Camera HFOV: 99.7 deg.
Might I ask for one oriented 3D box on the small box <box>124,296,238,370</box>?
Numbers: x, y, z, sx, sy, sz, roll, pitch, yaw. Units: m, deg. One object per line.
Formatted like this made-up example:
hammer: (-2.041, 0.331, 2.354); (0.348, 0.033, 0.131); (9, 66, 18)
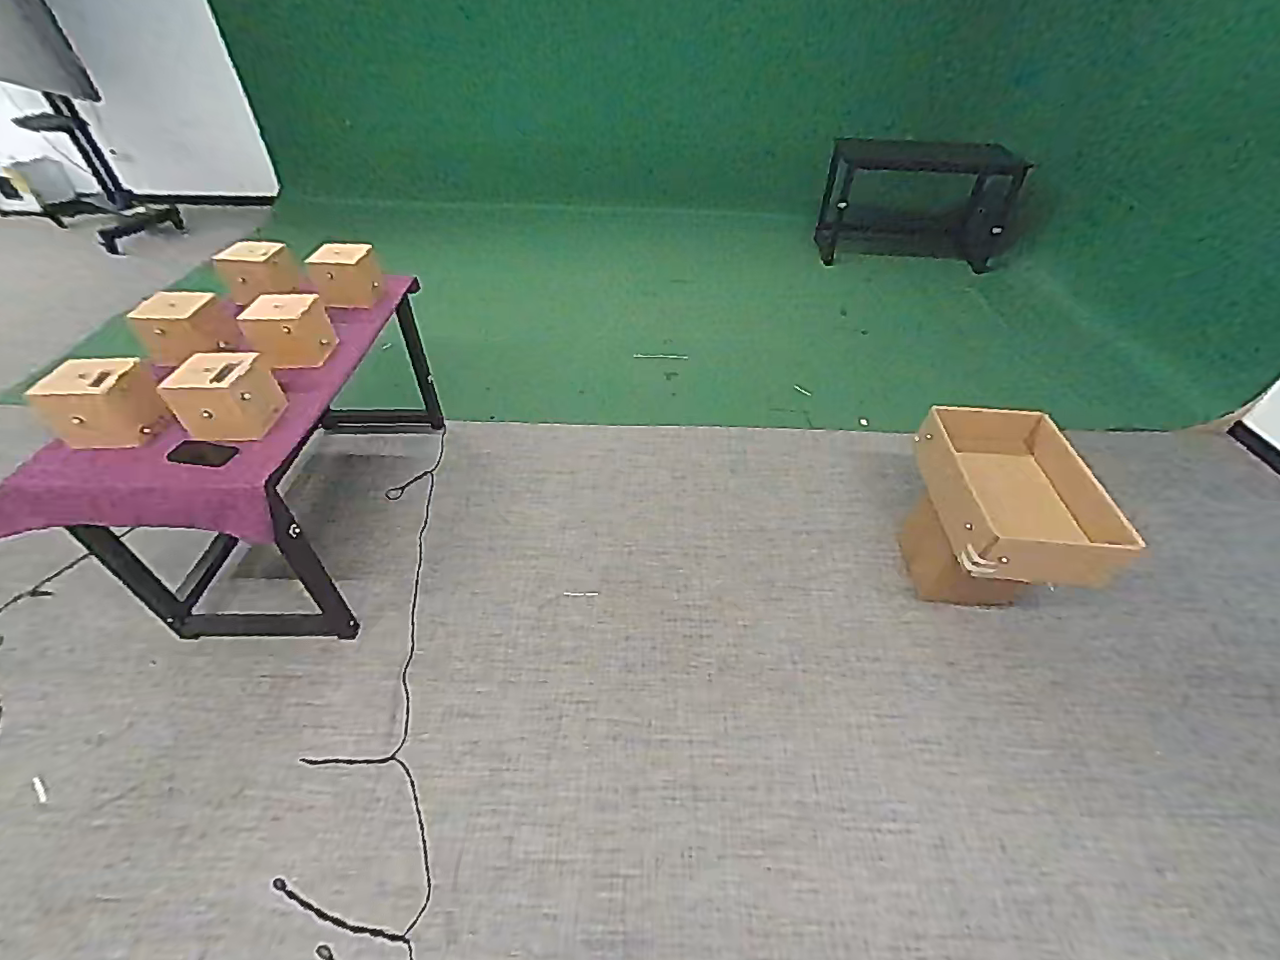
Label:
small box: (-1.403, -0.452, 1.667); (0.179, 0.176, 0.168); (1, 44, -2)

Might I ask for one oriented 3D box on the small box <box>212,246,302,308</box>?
small box: (-1.384, -0.734, 1.966); (0.179, 0.176, 0.168); (2, 44, 1)

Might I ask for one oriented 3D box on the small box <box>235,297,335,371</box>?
small box: (-1.085, -0.449, 1.671); (0.179, 0.176, 0.168); (-1, 43, -2)

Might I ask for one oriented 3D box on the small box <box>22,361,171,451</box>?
small box: (-1.371, -0.187, 1.384); (0.179, 0.176, 0.168); (-3, 43, -4)

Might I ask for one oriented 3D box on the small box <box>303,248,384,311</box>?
small box: (-1.066, -0.726, 1.960); (0.179, 0.176, 0.168); (2, 45, 1)
